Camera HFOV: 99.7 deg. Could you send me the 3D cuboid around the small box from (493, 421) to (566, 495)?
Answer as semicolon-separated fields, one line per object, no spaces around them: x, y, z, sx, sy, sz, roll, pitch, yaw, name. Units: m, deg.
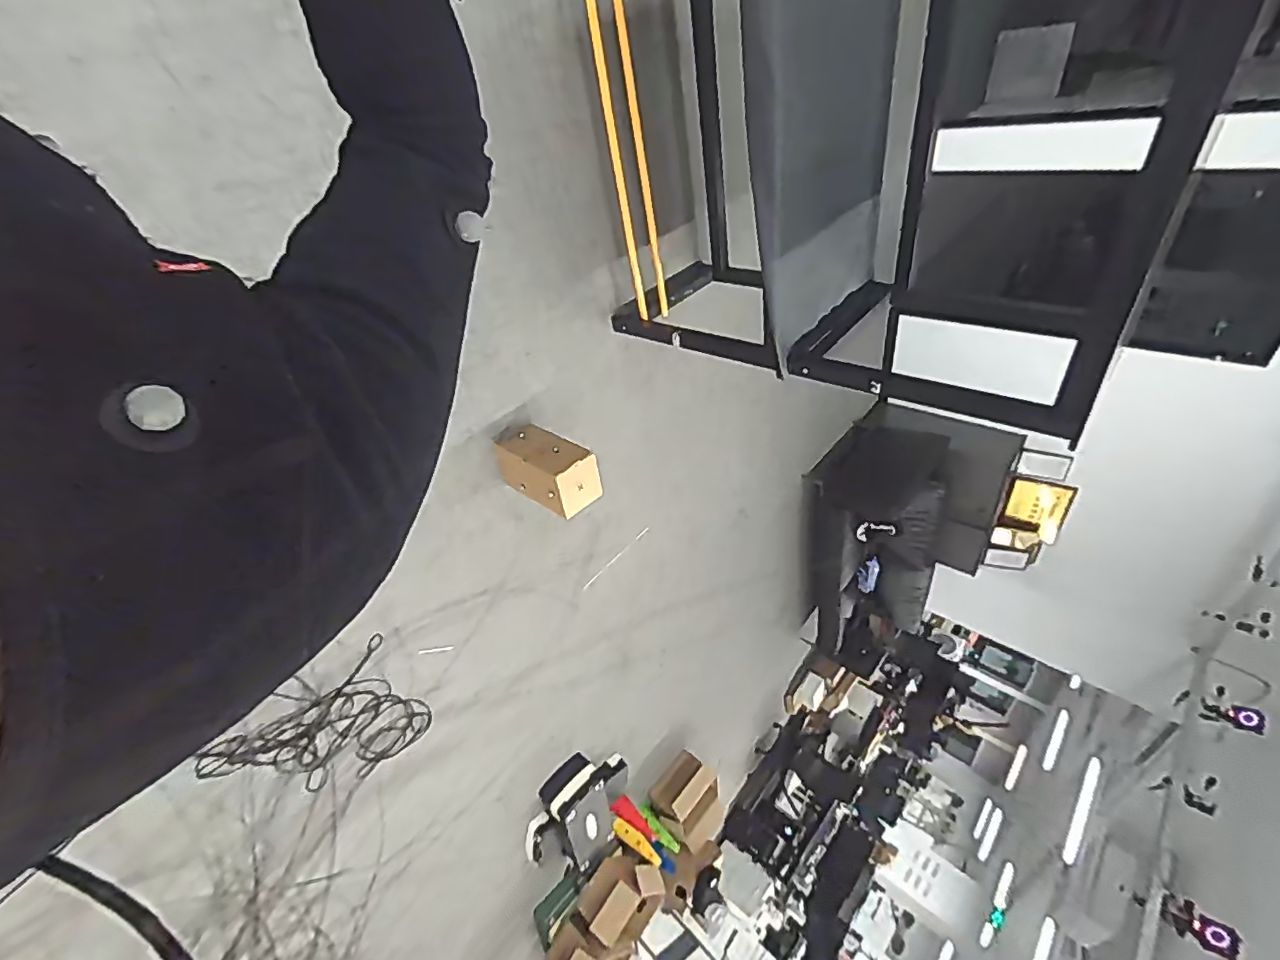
-0.383;-0.082;1.877;0.168;0.176;0.179;-36;135;-34;small box
